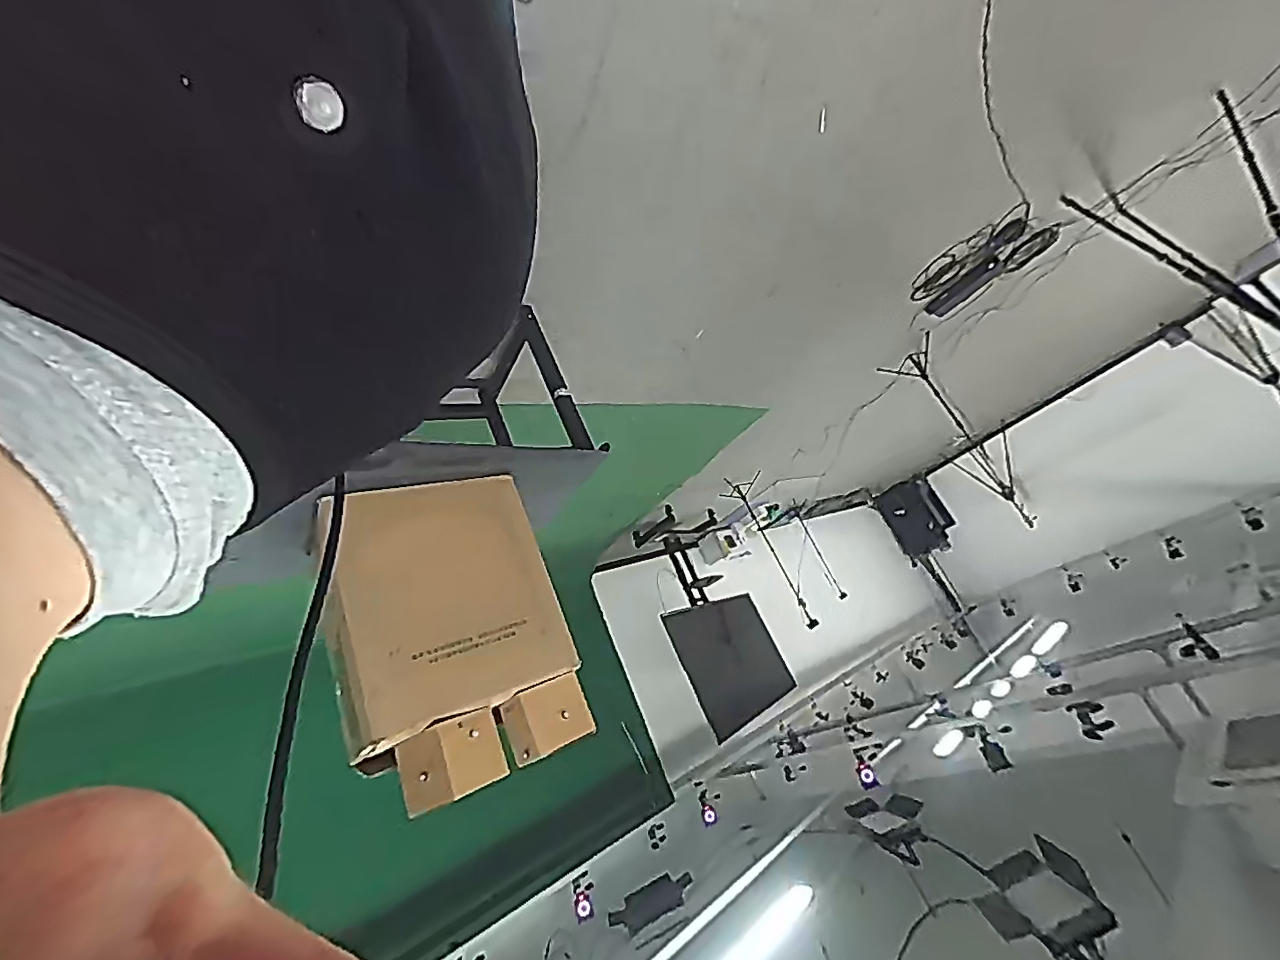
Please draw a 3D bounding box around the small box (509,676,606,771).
[{"bbox_3d":[-0.228,0.657,1.470,0.179,0.176,0.168,-11,154,-39],"label":"small box"}]

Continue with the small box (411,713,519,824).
[{"bbox_3d":[-0.430,0.690,1.309,0.179,0.176,0.168,-36,157,24],"label":"small box"}]
